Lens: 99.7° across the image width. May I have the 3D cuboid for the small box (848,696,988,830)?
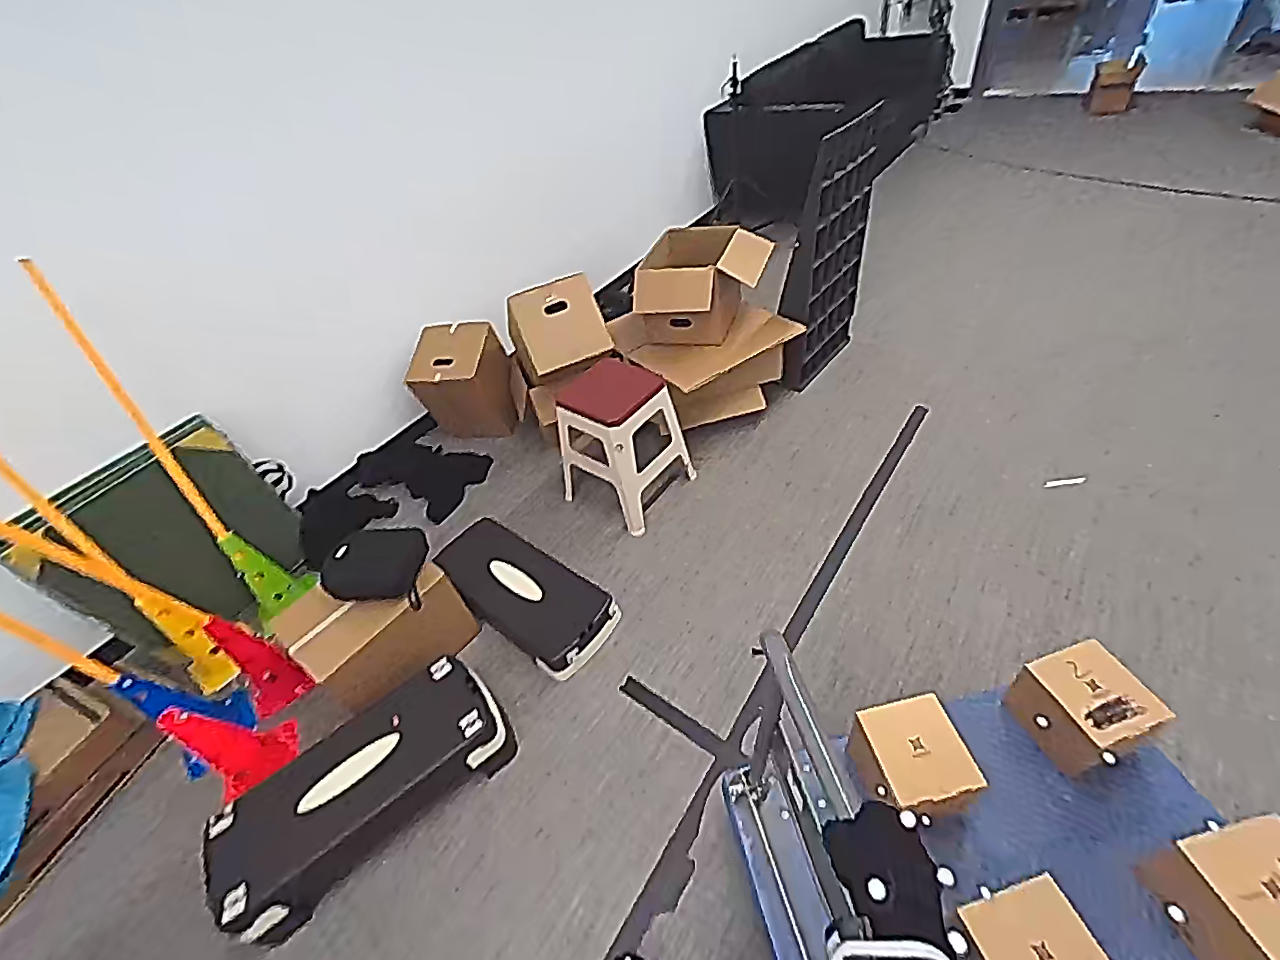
[{"bbox_3d":[0.533,0.561,1.070,0.168,0.176,0.179,-12,45,-2],"label":"small box"}]

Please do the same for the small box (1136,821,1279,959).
[{"bbox_3d":[0.966,0.674,0.861,0.179,0.176,0.168,-14,43,-1],"label":"small box"}]

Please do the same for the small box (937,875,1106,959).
[{"bbox_3d":[0.603,0.762,0.845,0.168,0.176,0.179,-16,44,-5],"label":"small box"}]
